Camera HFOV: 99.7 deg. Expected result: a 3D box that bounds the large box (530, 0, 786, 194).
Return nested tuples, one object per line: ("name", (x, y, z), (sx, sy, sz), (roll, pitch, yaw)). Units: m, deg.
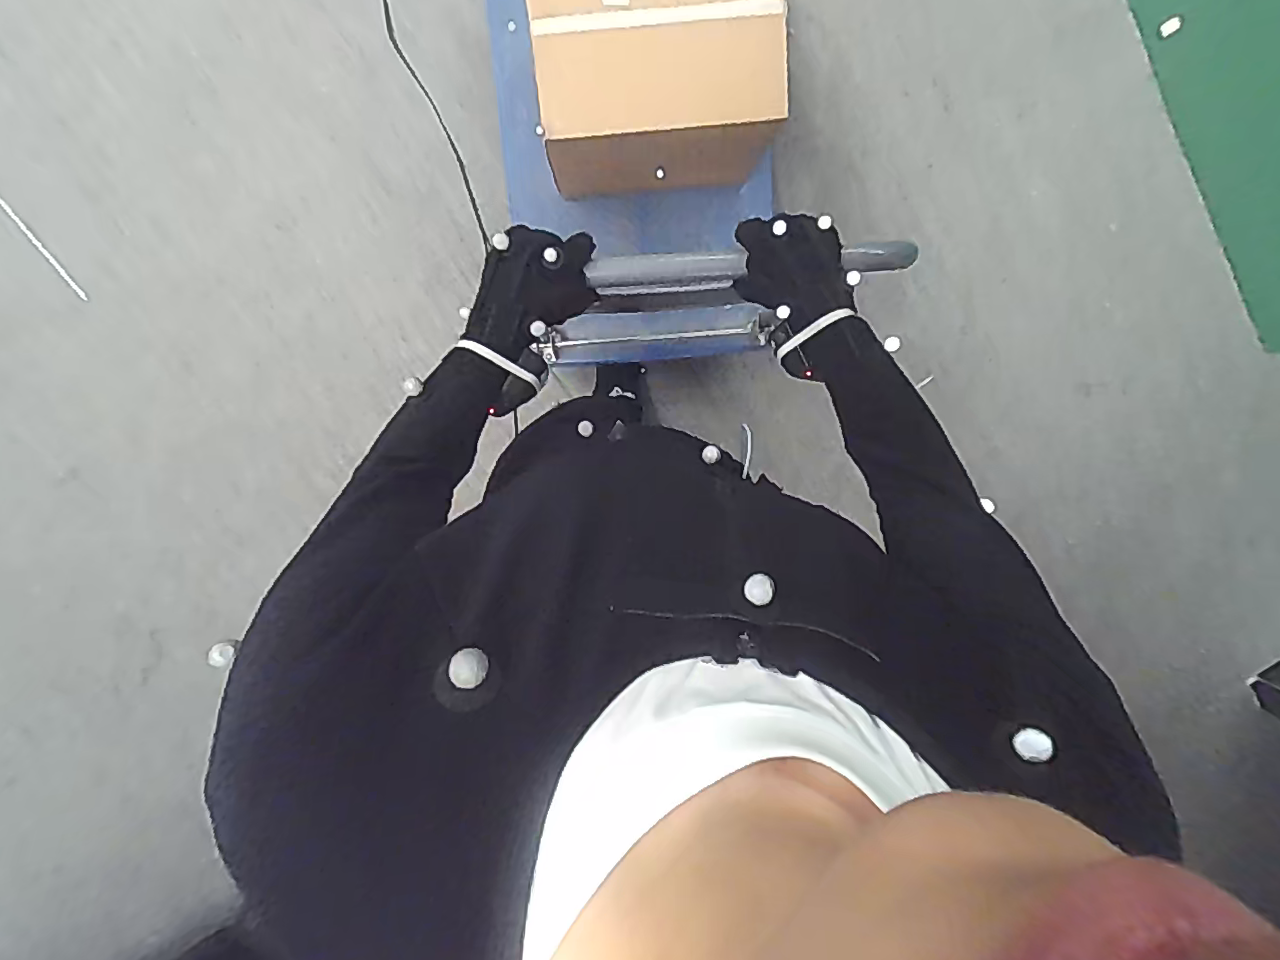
("large box", (0.025, -0.759, 1.005), (0.408, 0.320, 0.320), (-6, 101, -1))
